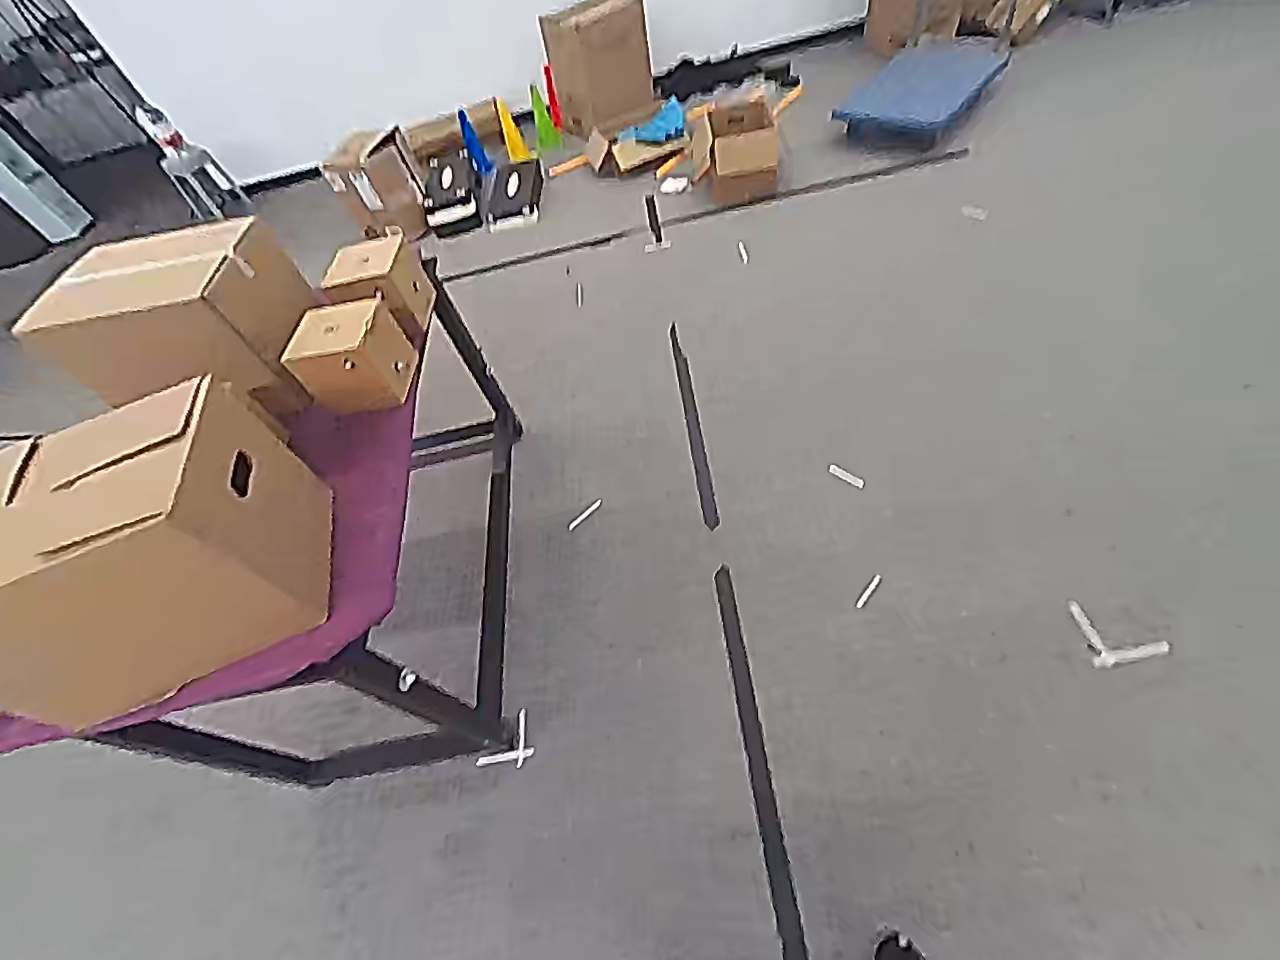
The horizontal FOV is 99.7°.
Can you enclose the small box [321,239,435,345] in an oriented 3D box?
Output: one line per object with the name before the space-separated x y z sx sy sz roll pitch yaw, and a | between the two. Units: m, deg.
small box | -0.633 -0.459 1.335 0.179 0.176 0.168 -10 51 8
